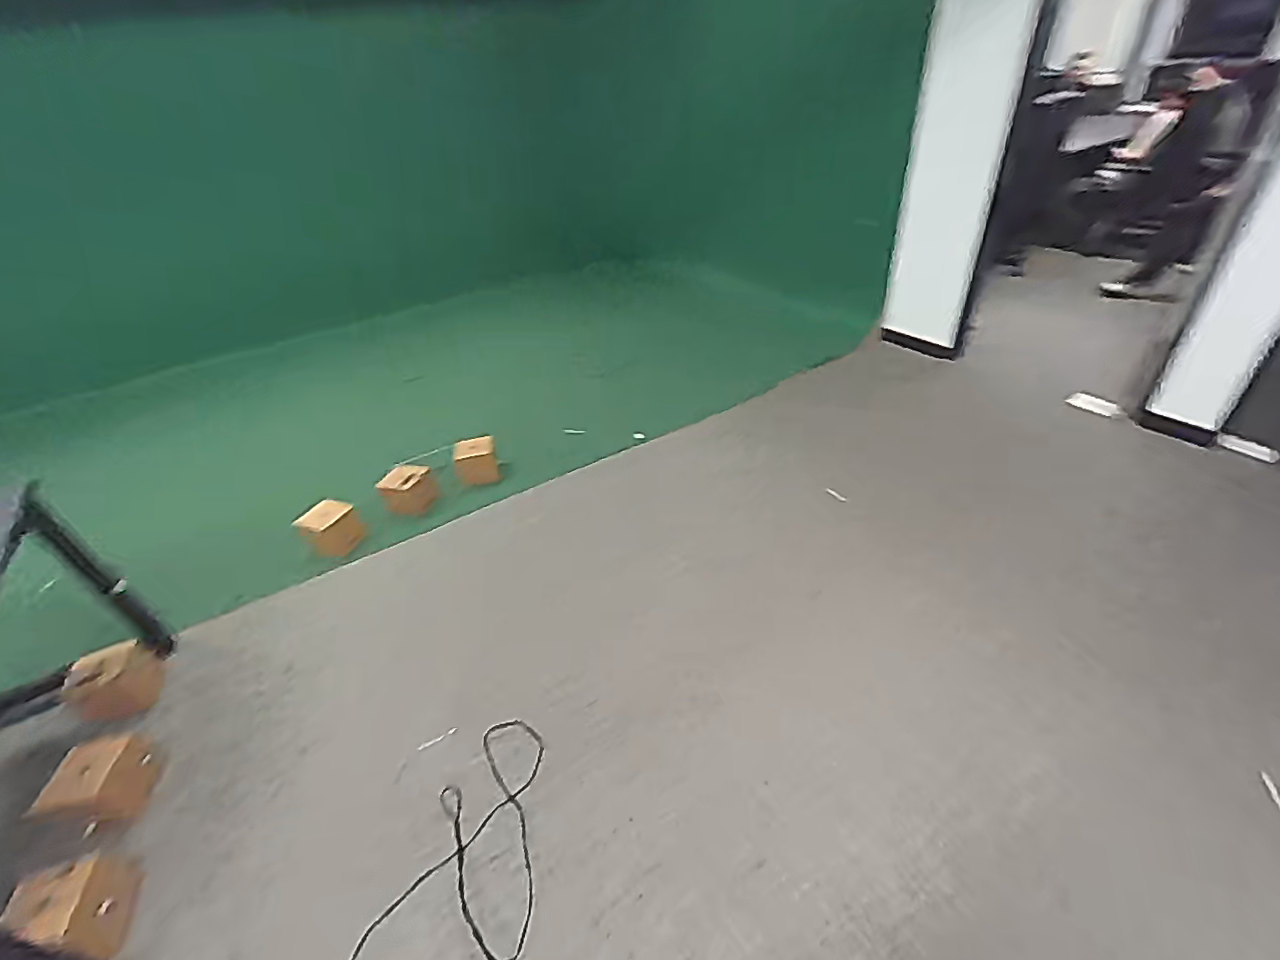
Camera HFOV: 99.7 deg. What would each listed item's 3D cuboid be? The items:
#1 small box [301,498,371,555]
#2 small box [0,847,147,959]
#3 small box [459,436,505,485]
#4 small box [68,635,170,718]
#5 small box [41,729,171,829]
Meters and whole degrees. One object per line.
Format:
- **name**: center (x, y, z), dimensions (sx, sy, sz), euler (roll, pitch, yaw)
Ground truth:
- **small box**: center (-1.317, 0.205, 2.350), dimensions (0.179, 0.176, 0.168), euler (11, 40, 22)
- **small box**: center (-1.321, 1.013, 1.268), dimensions (0.168, 0.176, 0.179), euler (-15, 38, -12)
- **small box**: center (-0.775, -0.093, 2.658), dimensions (0.179, 0.176, 0.168), euler (-11, 37, -6)
- **small box**: center (-1.721, 0.662, 1.800), dimensions (0.168, 0.176, 0.179), euler (-19, 37, -17)
- **small box**: center (-1.485, 0.842, 1.522), dimensions (0.168, 0.176, 0.179), euler (-11, 38, -5)
